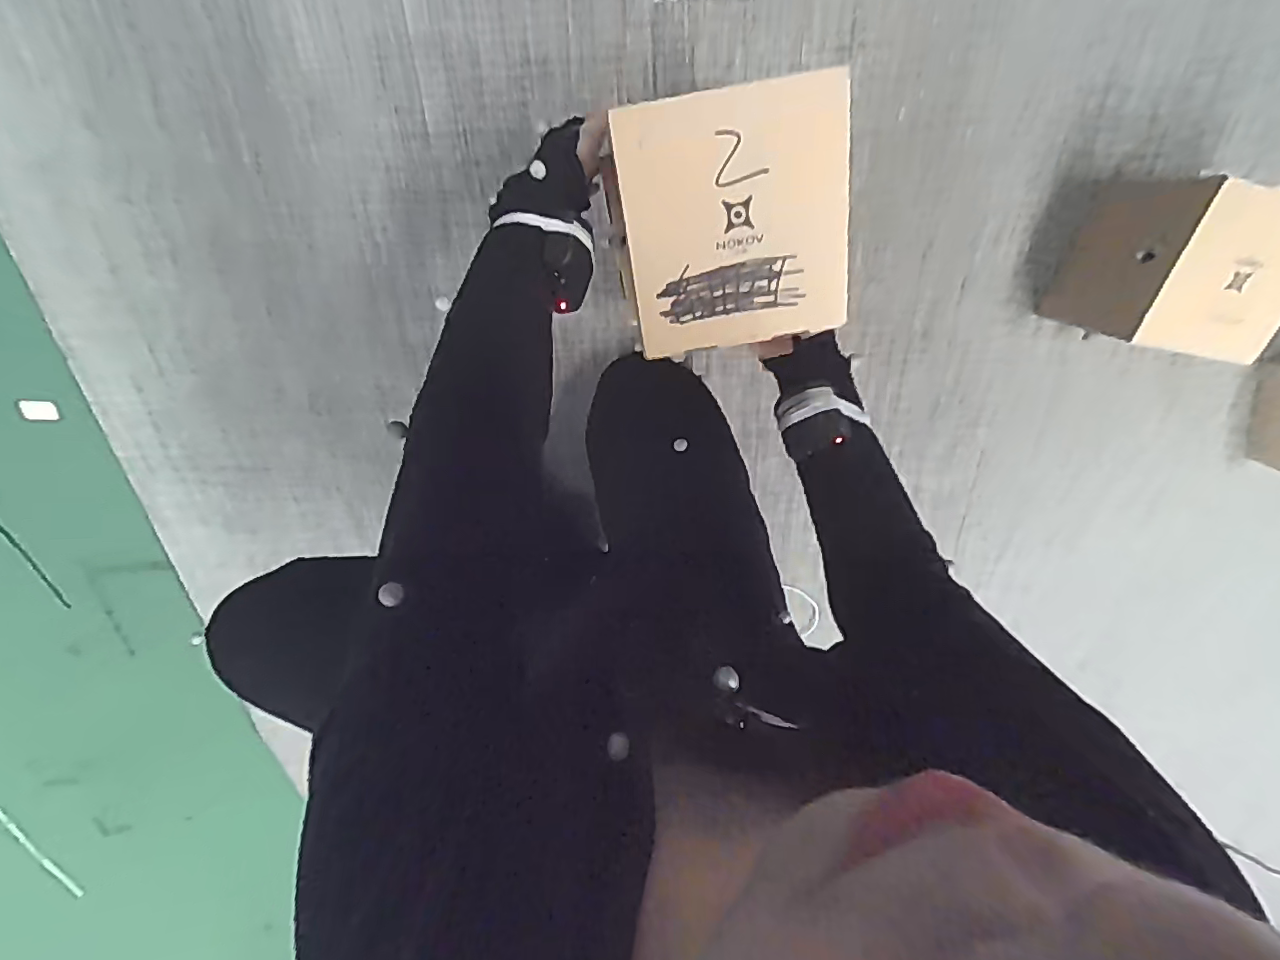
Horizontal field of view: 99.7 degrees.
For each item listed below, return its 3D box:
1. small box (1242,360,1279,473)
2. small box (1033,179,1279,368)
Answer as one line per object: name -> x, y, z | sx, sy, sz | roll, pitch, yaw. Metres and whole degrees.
small box -> 1.036, -0.093, 0.774 | 0.168, 0.176, 0.179 | -20, 116, 7
small box -> 0.648, -0.257, 0.675 | 0.168, 0.176, 0.179 | 8, 115, -6
